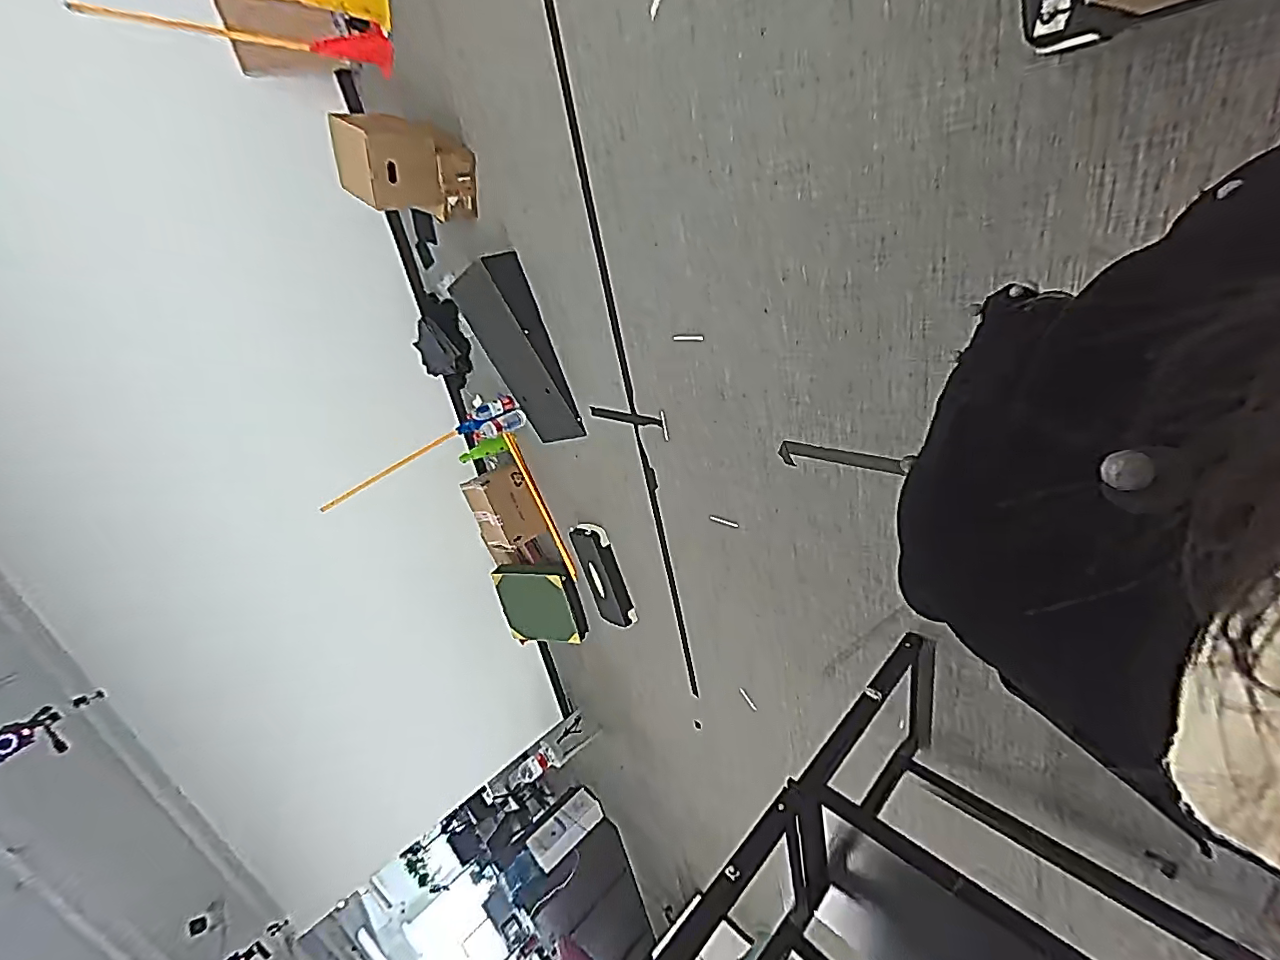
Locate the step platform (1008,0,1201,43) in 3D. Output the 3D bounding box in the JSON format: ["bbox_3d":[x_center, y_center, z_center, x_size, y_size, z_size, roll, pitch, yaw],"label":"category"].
[{"bbox_3d":[0.907,-0.839,0.721,0.684,0.204,0.286,24,132,43],"label":"step platform"}]

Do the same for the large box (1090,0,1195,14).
[{"bbox_3d":[0.767,-0.746,0.543,0.408,0.320,0.320,18,127,47],"label":"large box"}]
